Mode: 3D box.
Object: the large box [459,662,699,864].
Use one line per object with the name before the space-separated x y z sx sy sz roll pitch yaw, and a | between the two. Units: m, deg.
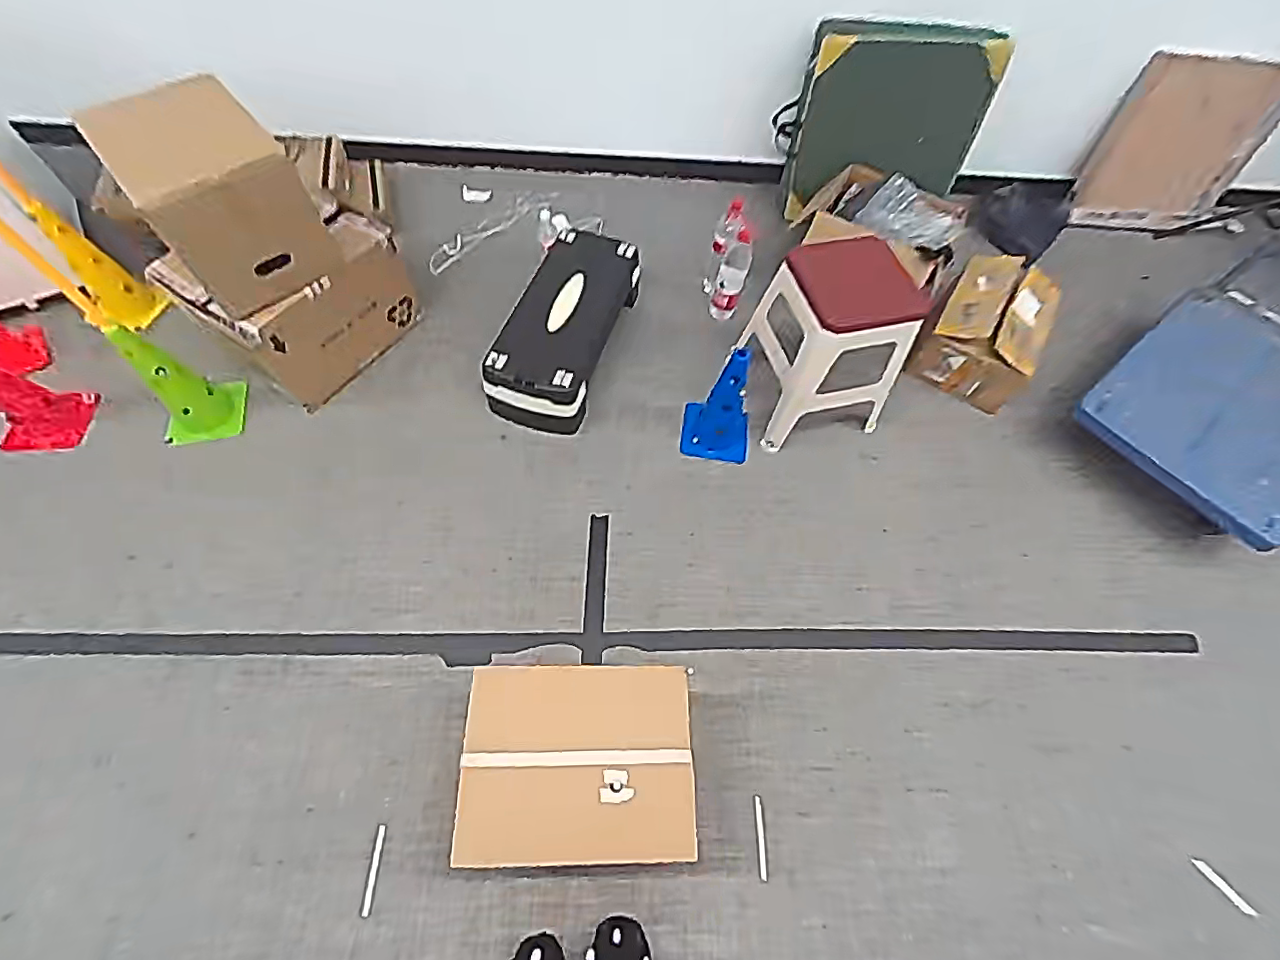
large box | -0.116 0.558 1.088 0.408 0.320 0.320 2 62 -5
